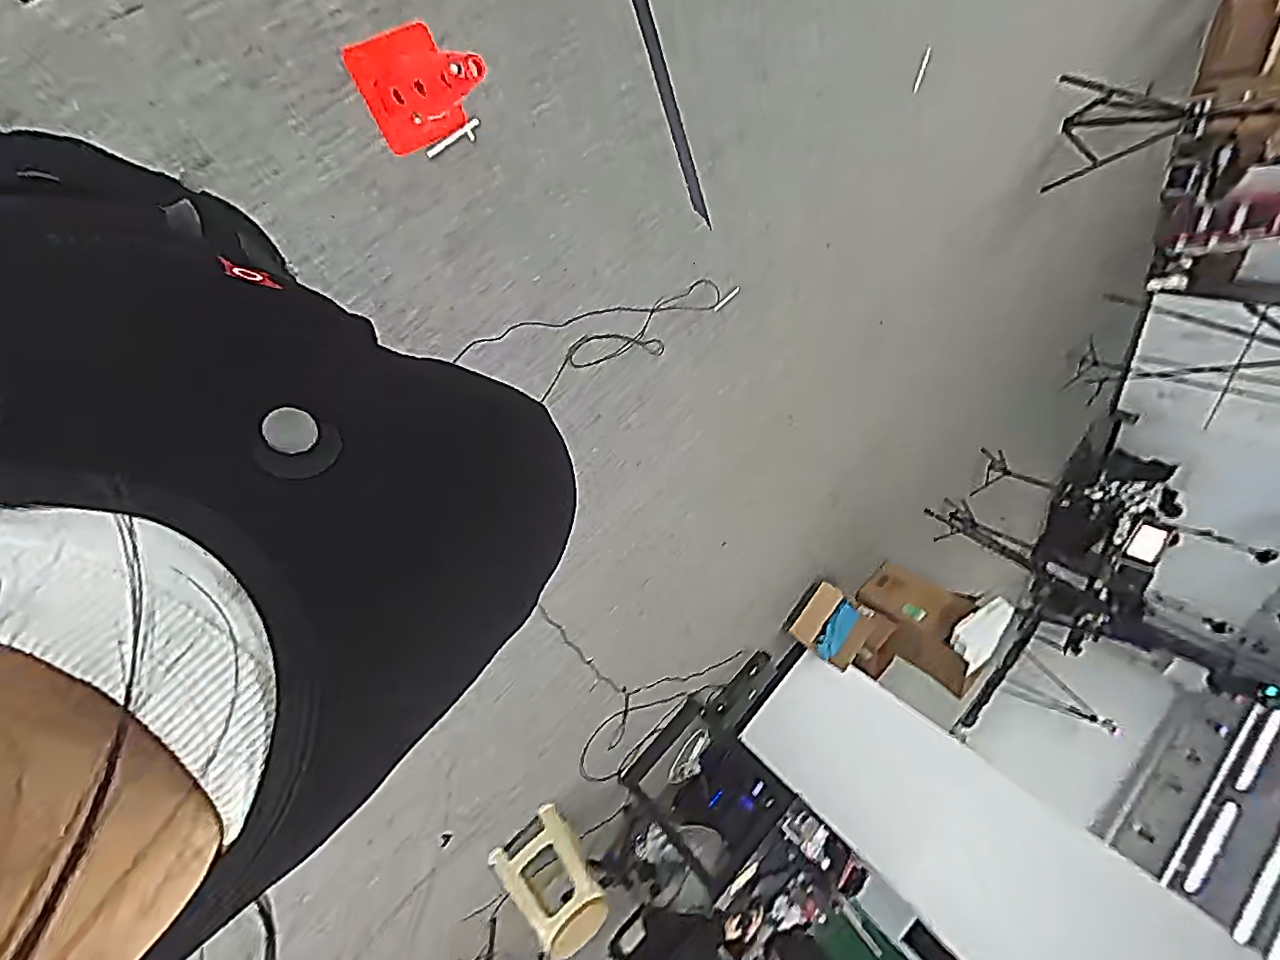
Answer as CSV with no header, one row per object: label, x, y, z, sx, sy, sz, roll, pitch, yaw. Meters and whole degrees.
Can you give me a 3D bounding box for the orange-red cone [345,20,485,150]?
orange-red cone,-0.391,-0.781,1.042,0.198,0.360,0.199,-39,132,-20
